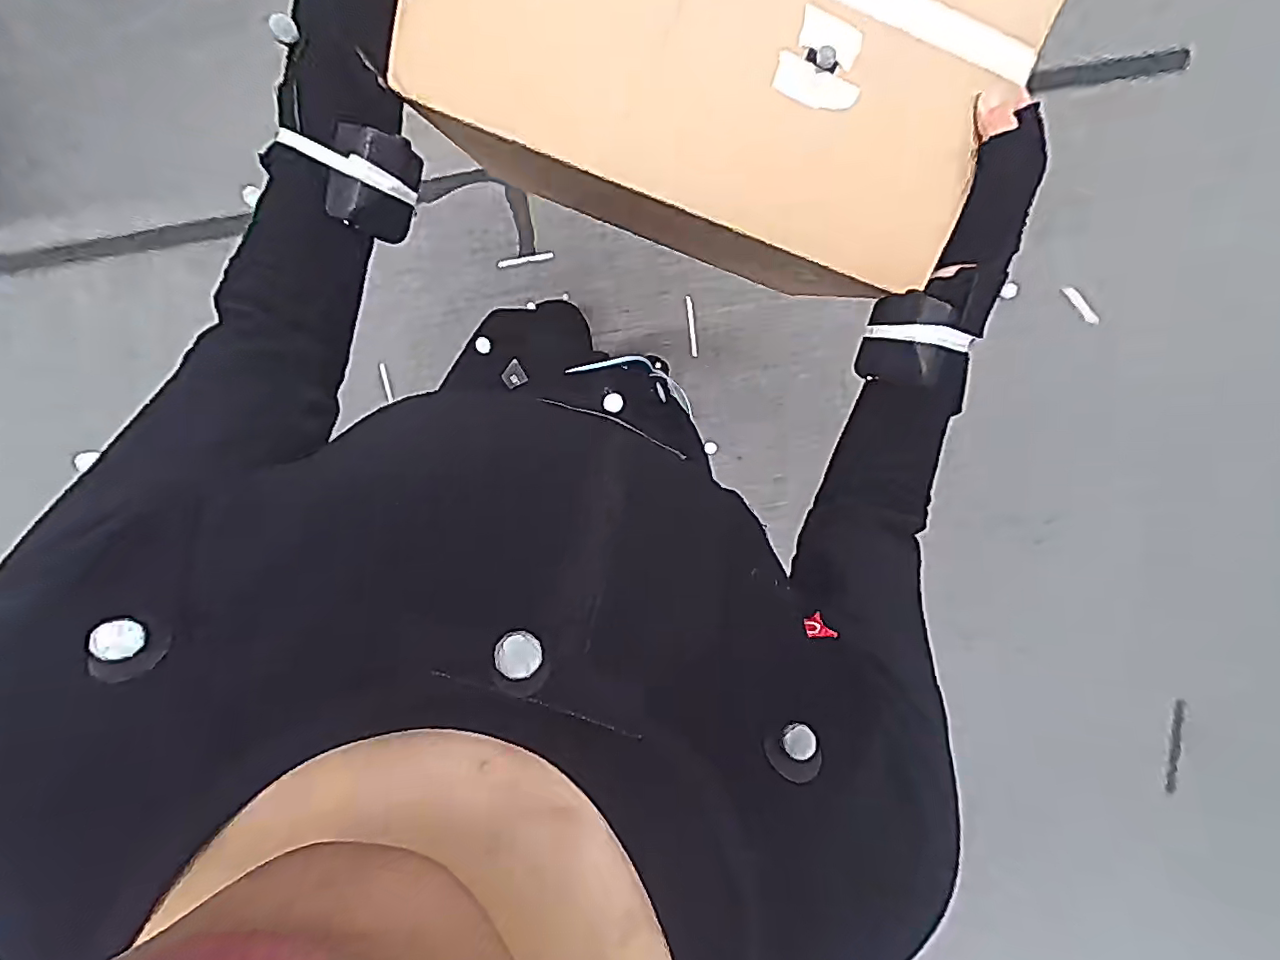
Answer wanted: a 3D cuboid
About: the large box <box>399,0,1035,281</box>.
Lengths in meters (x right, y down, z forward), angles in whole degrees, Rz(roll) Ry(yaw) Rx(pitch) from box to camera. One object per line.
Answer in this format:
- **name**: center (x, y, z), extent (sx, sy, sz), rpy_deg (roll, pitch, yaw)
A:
- **large box**: center (0.058, -0.397, 0.488), extent (0.408, 0.320, 0.320), rpy_deg (17, 109, -9)
